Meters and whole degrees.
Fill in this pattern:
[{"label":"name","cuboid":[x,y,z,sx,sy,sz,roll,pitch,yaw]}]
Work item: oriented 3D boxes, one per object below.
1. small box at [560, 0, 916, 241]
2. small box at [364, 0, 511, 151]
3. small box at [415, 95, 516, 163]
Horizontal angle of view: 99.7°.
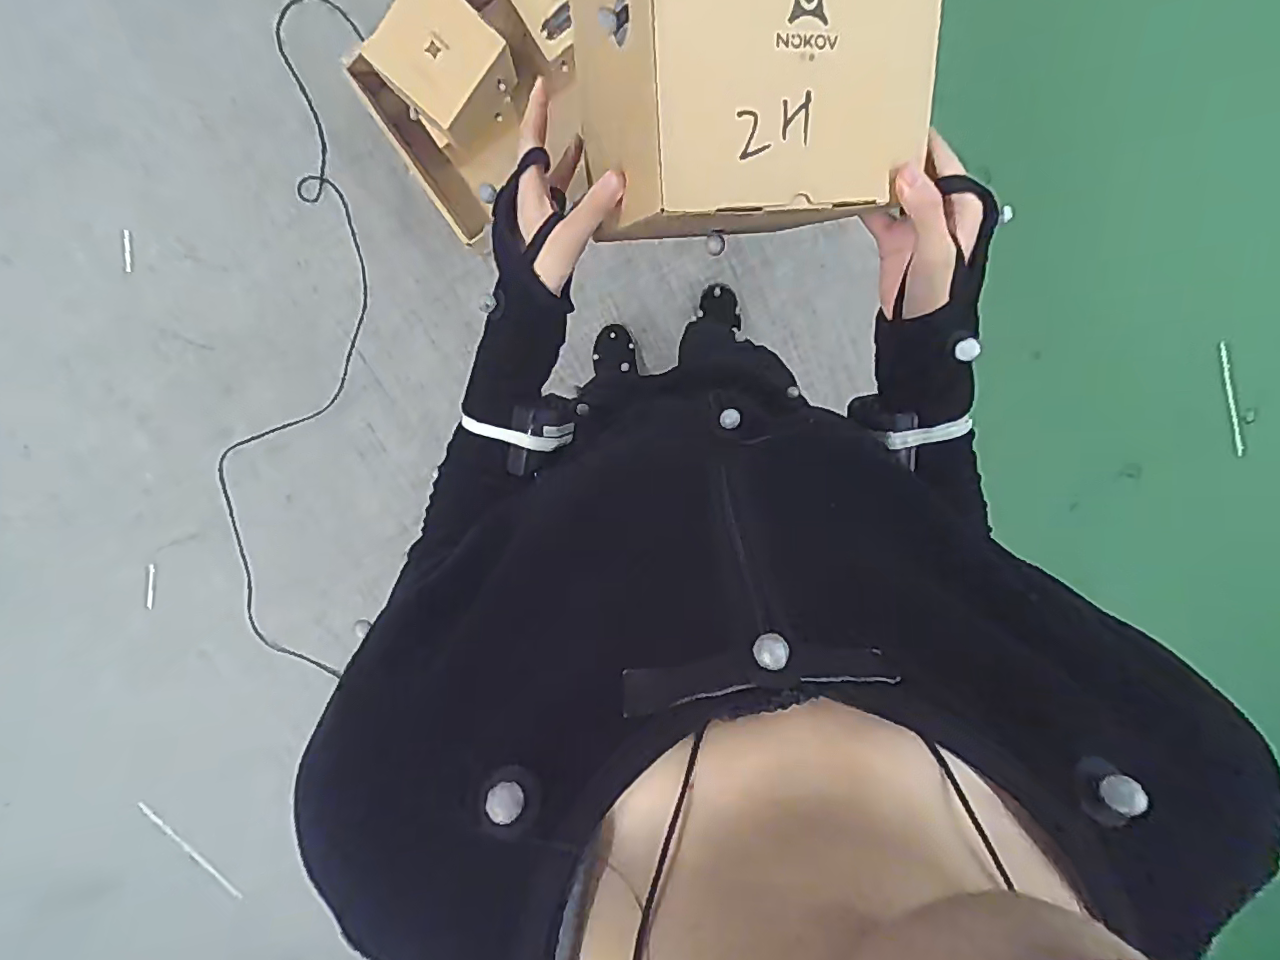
[{"label":"small box","cuboid":[0.049,-0.260,0.351,0.168,0.176,0.179,-10,112,-15]},{"label":"small box","cuboid":[-0.349,-0.740,0.971,0.168,0.176,0.179,39,100,-15]},{"label":"small box","cuboid":[-0.379,-0.797,1.122,0.179,0.176,0.168,-33,108,5]}]
